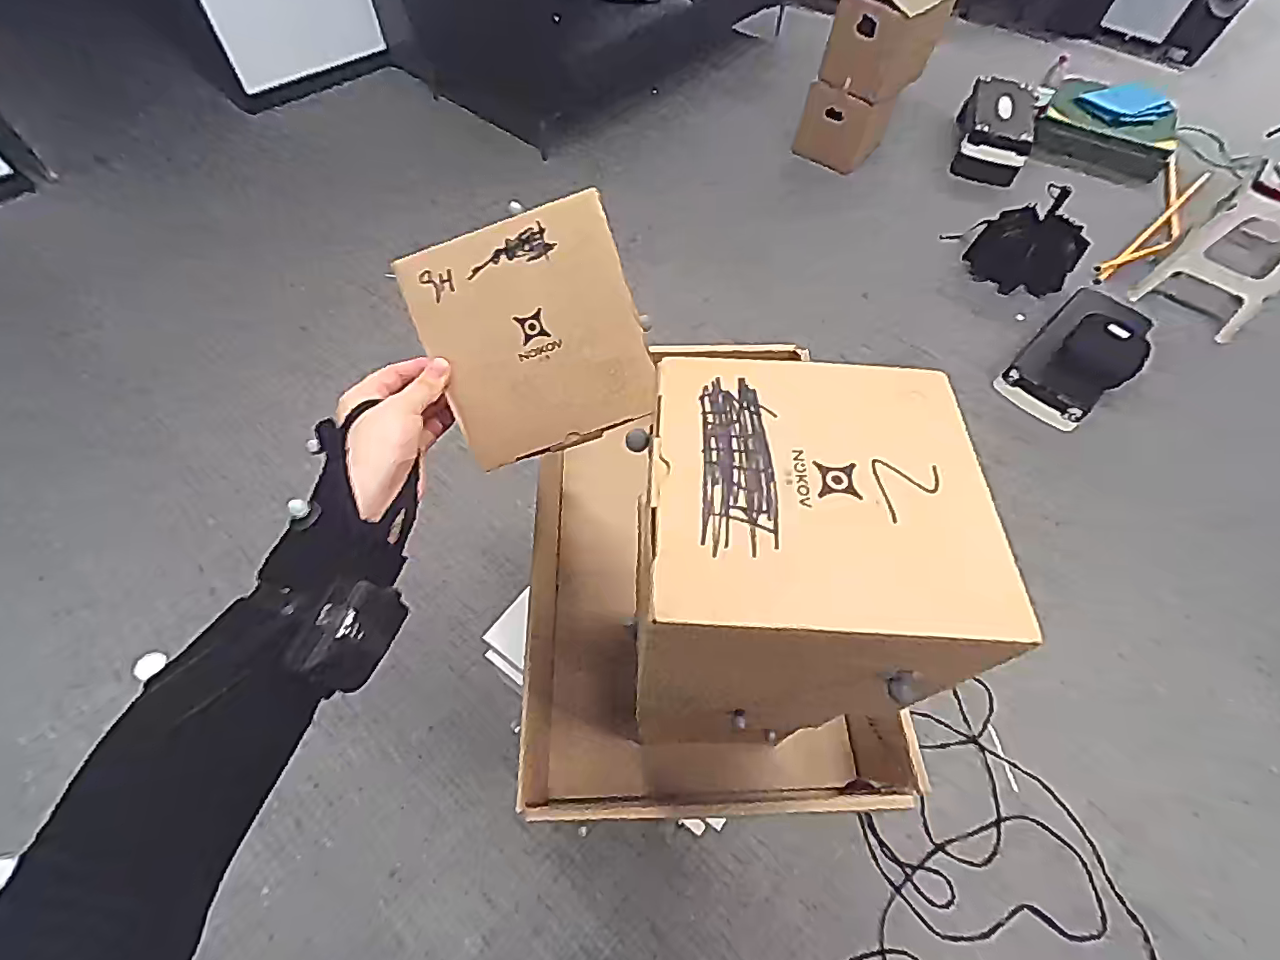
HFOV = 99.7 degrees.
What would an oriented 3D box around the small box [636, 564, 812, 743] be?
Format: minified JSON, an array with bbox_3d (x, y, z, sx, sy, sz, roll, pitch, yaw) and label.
[{"bbox_3d":[0.084,0.211,0.642,0.179,0.176,0.168,0,56,-1],"label":"small box"}]
